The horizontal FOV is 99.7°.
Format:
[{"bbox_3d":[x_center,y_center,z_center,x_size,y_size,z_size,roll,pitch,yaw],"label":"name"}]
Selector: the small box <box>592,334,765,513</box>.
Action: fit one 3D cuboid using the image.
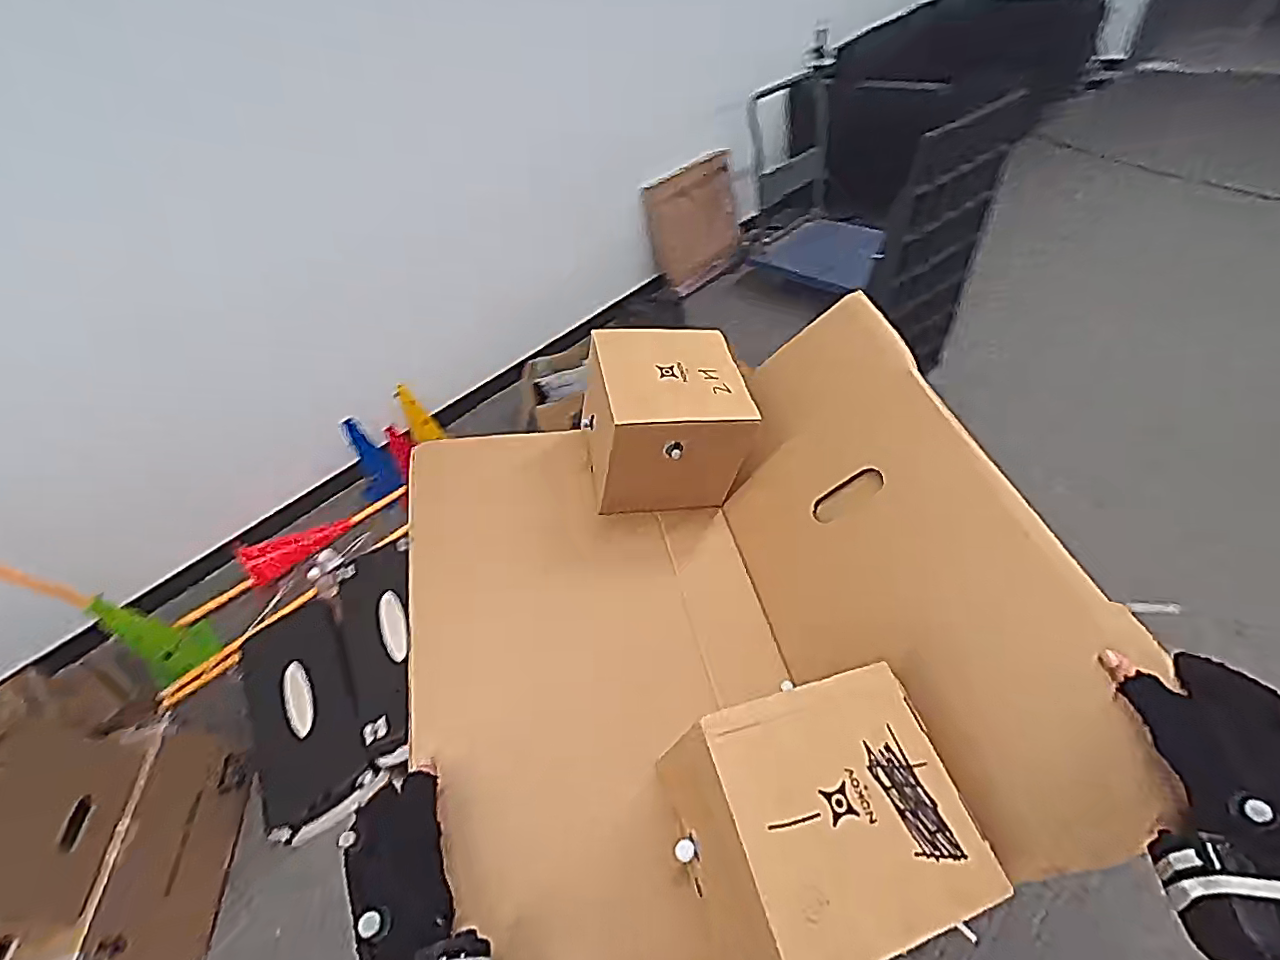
[{"bbox_3d":[0.034,-0.069,0.702,0.179,0.176,0.168,-2,53,-14],"label":"small box"}]
